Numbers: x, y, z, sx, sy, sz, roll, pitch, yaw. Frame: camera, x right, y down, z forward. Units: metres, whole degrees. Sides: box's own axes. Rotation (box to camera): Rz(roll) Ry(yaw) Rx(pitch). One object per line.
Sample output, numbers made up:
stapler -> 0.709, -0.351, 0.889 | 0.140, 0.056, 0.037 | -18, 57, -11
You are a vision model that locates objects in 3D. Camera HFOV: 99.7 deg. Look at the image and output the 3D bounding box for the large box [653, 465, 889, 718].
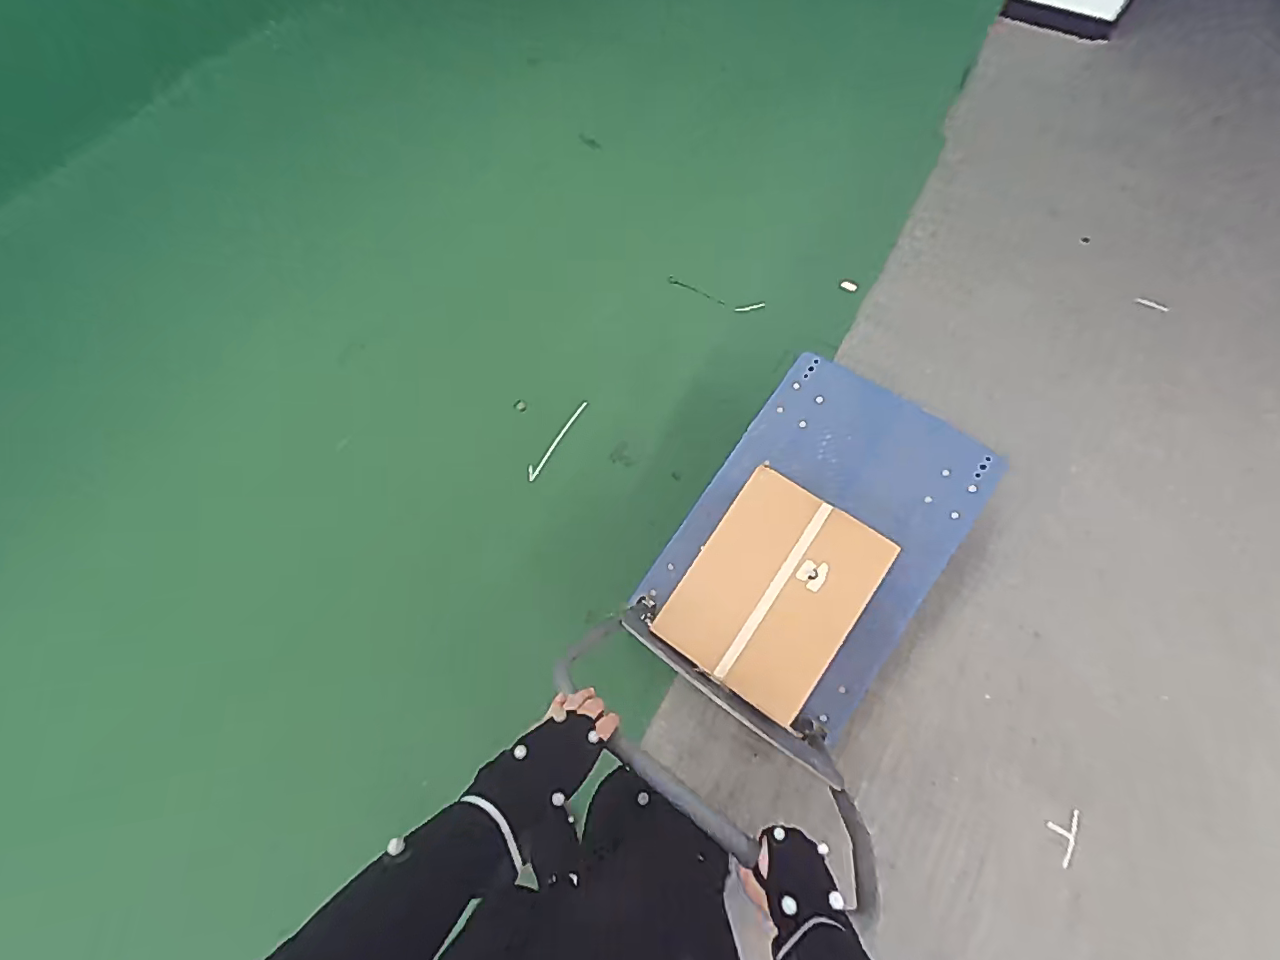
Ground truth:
large box -> 0.277, 0.243, 1.211 | 0.320, 0.320, 0.408 | 34, 84, 14
